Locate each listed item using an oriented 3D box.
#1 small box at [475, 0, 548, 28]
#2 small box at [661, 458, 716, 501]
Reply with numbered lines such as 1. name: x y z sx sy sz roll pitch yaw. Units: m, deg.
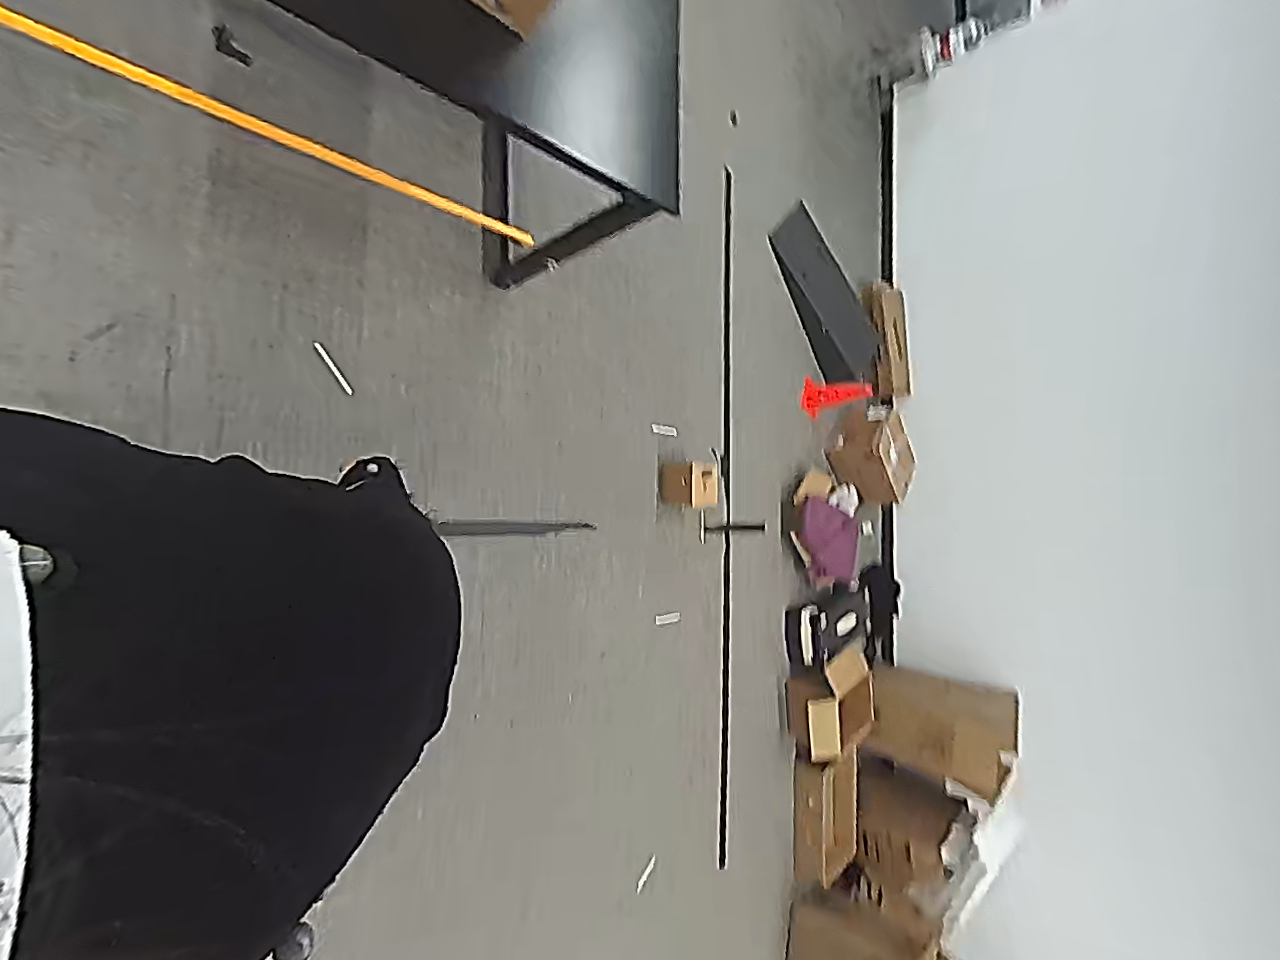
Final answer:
1. small box: -0.212 -0.882 0.845 0.168 0.176 0.179 1 89 -44
2. small box: 0.203 0.001 2.266 0.168 0.176 0.179 1 89 -45
